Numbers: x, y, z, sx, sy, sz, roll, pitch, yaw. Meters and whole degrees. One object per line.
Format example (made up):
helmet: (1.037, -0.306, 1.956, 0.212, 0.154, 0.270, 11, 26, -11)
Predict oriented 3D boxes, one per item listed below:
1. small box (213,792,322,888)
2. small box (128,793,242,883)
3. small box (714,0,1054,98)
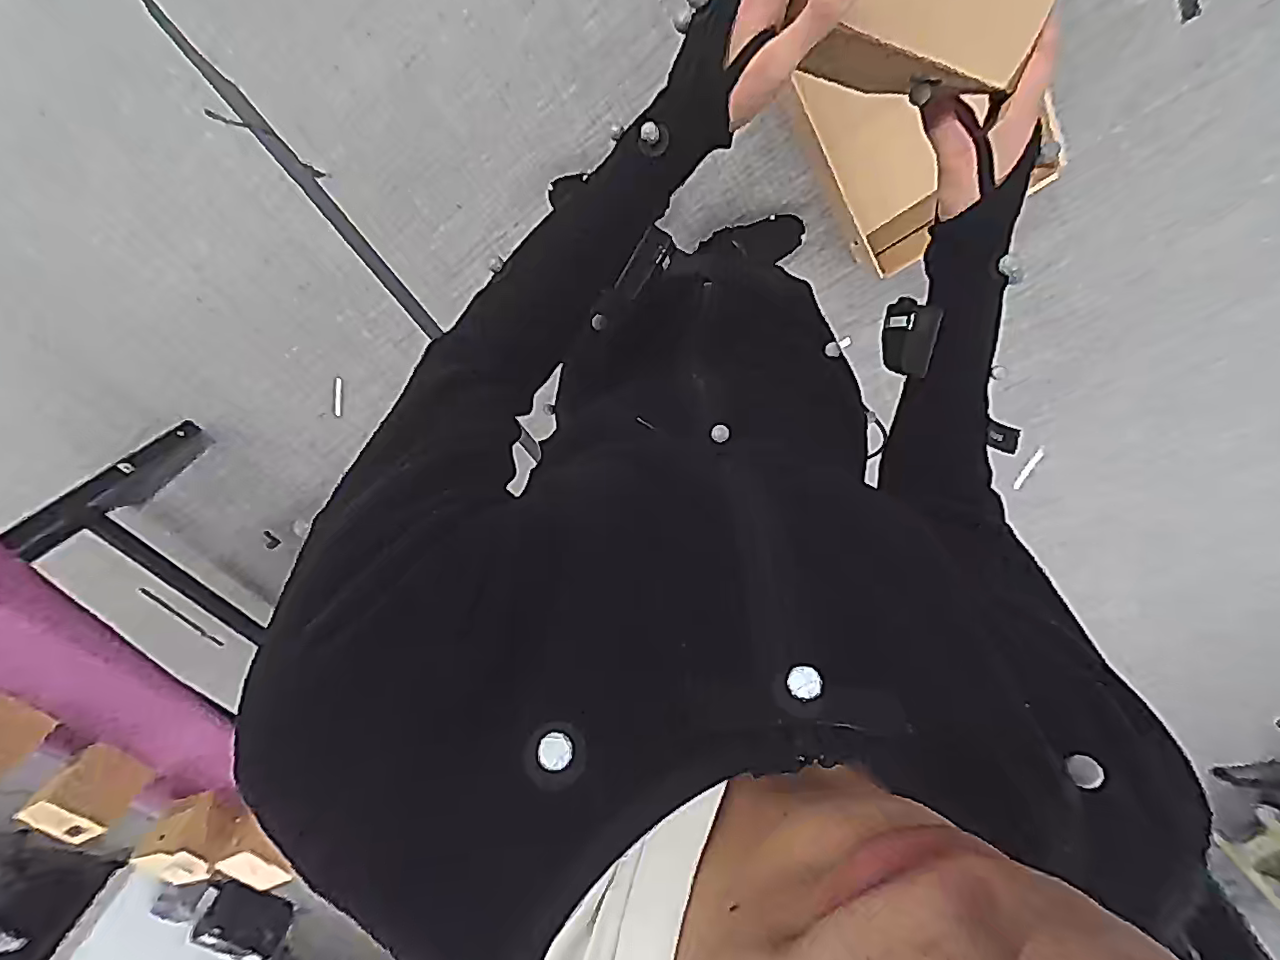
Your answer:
small box: (-1.095, 1.066, 1.604, 0.179, 0.176, 0.168, -32, 114, 21)
small box: (-1.356, 1.074, 1.629, 0.179, 0.176, 0.168, -22, 118, 17)
small box: (0.180, -0.390, 0.380, 0.179, 0.176, 0.168, 0, 124, -22)
